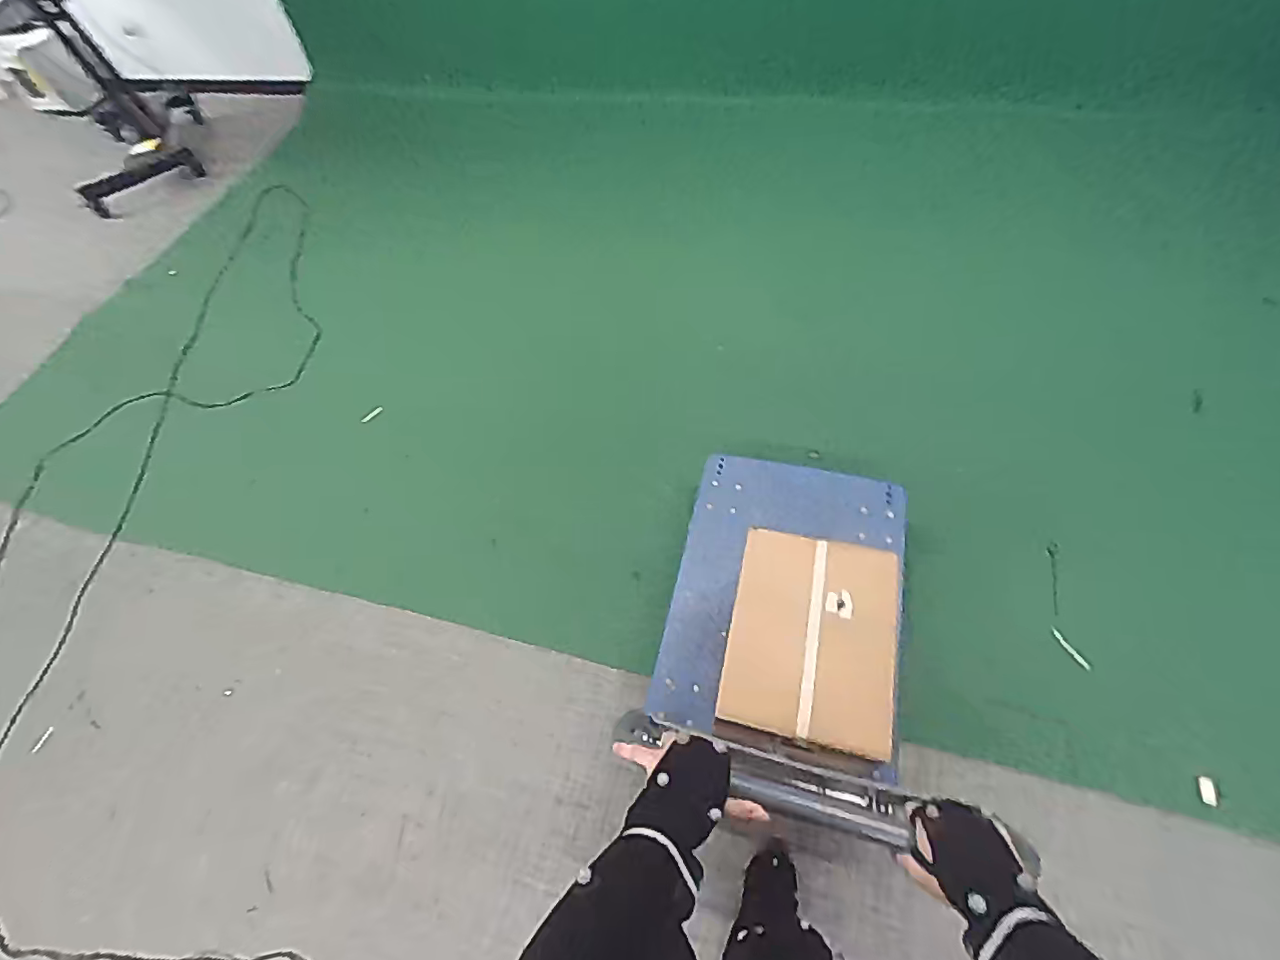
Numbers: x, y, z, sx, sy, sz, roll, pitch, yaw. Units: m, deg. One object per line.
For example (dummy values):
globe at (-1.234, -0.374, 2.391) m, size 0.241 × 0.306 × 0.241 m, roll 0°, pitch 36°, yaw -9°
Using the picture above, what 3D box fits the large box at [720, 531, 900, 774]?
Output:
large box at (0.359, 0.378, 1.182) m, size 0.320 × 0.320 × 0.408 m, roll 11°, pitch 60°, yaw 12°
